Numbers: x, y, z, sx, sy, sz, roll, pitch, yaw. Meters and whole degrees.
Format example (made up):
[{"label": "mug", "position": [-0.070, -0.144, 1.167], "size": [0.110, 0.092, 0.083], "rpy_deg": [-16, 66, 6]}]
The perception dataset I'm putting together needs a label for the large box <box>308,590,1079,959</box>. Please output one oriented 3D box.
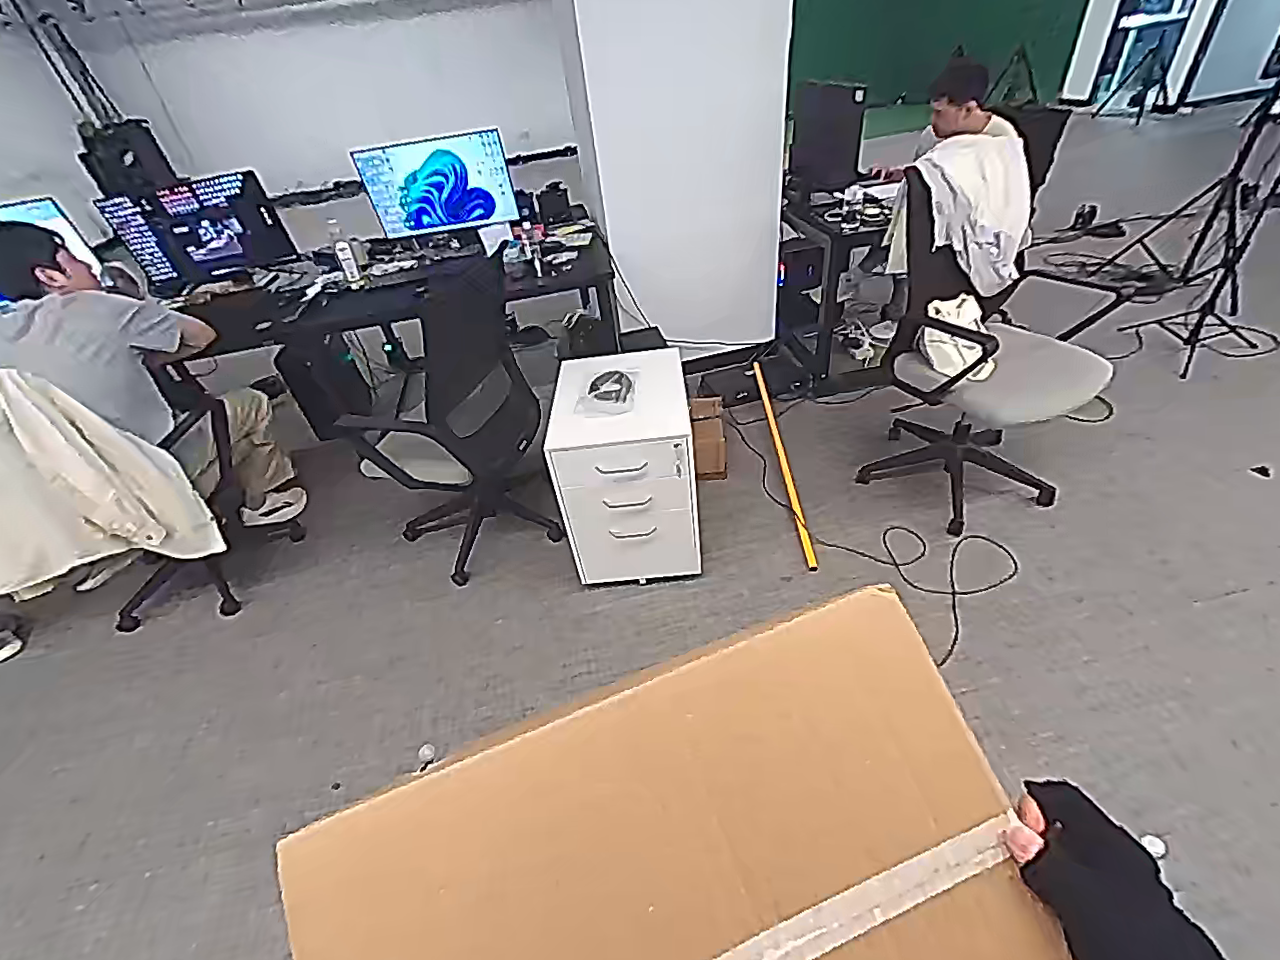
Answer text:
[{"label": "large box", "position": [0.037, 0.328, 0.444], "size": [0.408, 0.320, 0.320], "rpy_deg": [-21, 74, -8]}]
